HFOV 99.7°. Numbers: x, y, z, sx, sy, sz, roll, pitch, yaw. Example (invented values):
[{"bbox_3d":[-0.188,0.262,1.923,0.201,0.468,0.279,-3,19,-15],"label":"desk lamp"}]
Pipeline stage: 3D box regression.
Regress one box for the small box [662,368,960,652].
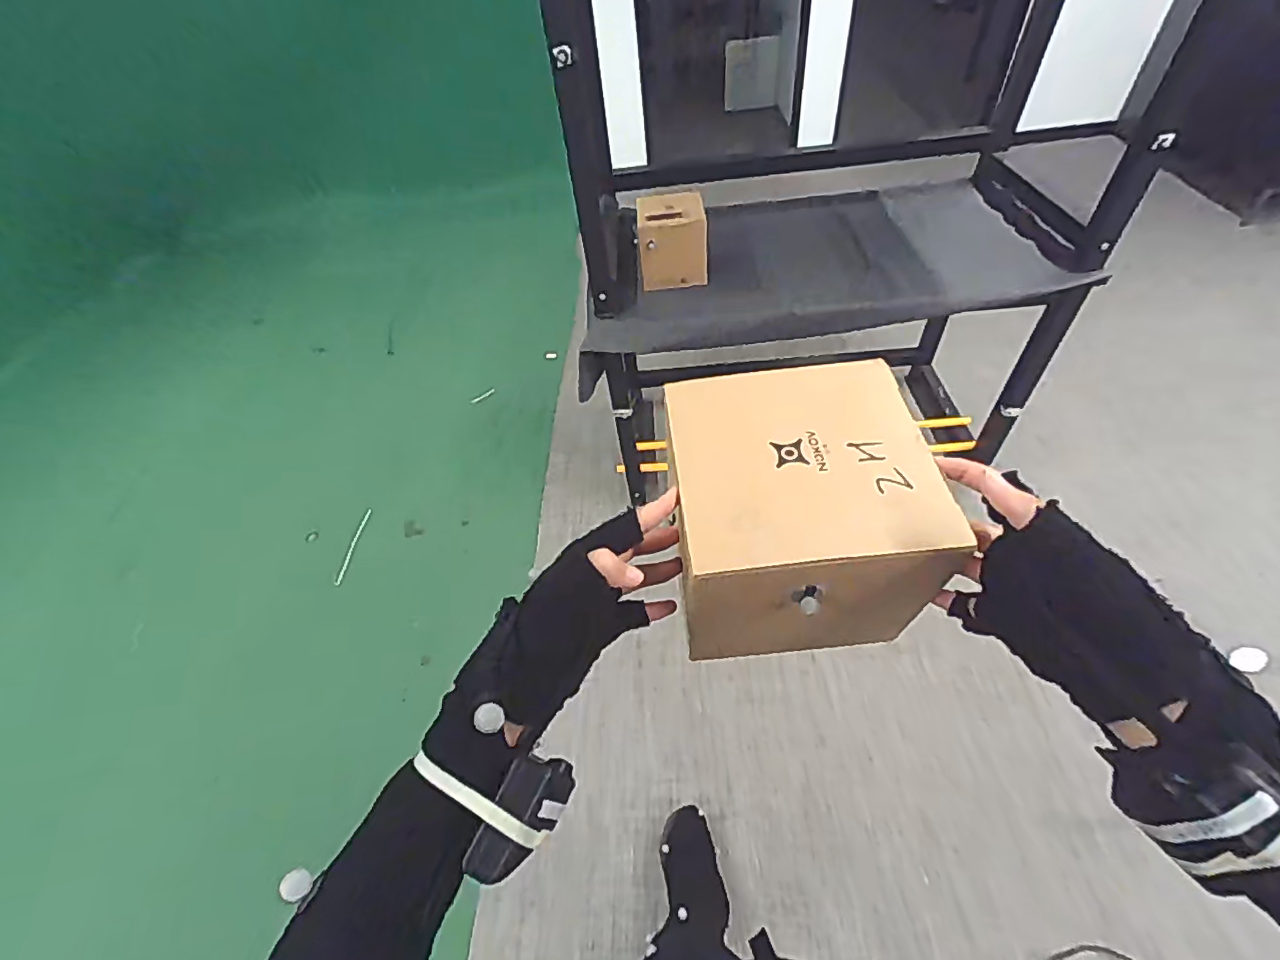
[{"bbox_3d":[0.115,0.032,0.448,0.179,0.176,0.168,-6,54,0],"label":"small box"}]
